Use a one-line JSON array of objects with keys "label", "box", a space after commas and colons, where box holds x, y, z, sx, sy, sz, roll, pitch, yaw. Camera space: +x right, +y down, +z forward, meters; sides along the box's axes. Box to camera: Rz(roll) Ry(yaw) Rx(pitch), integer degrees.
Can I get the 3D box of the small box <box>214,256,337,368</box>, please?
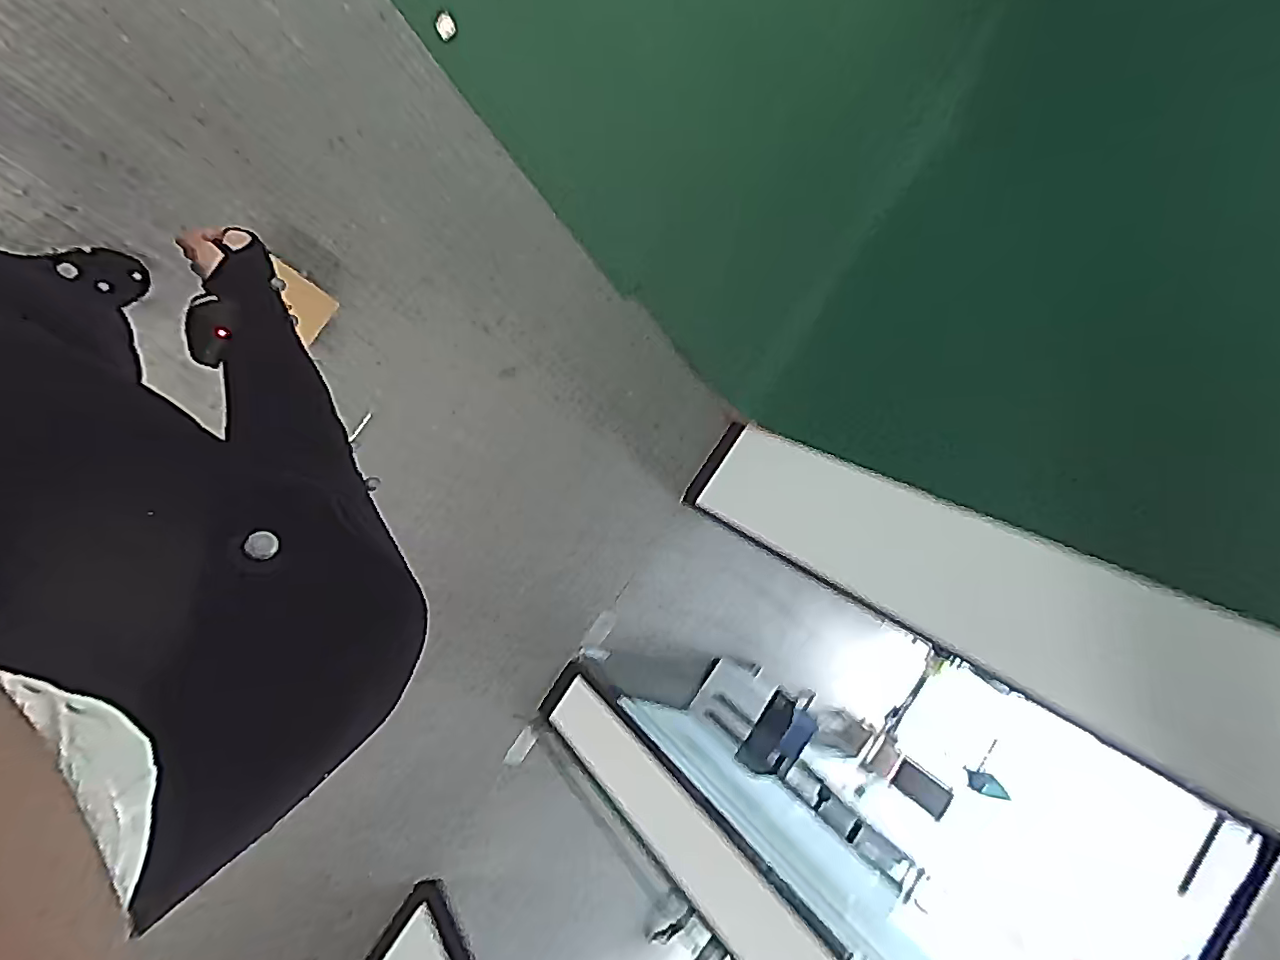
[{"label": "small box", "box": [-0.851, -0.394, 1.254, 0.179, 0.176, 0.168, -55, 137, -5]}]
